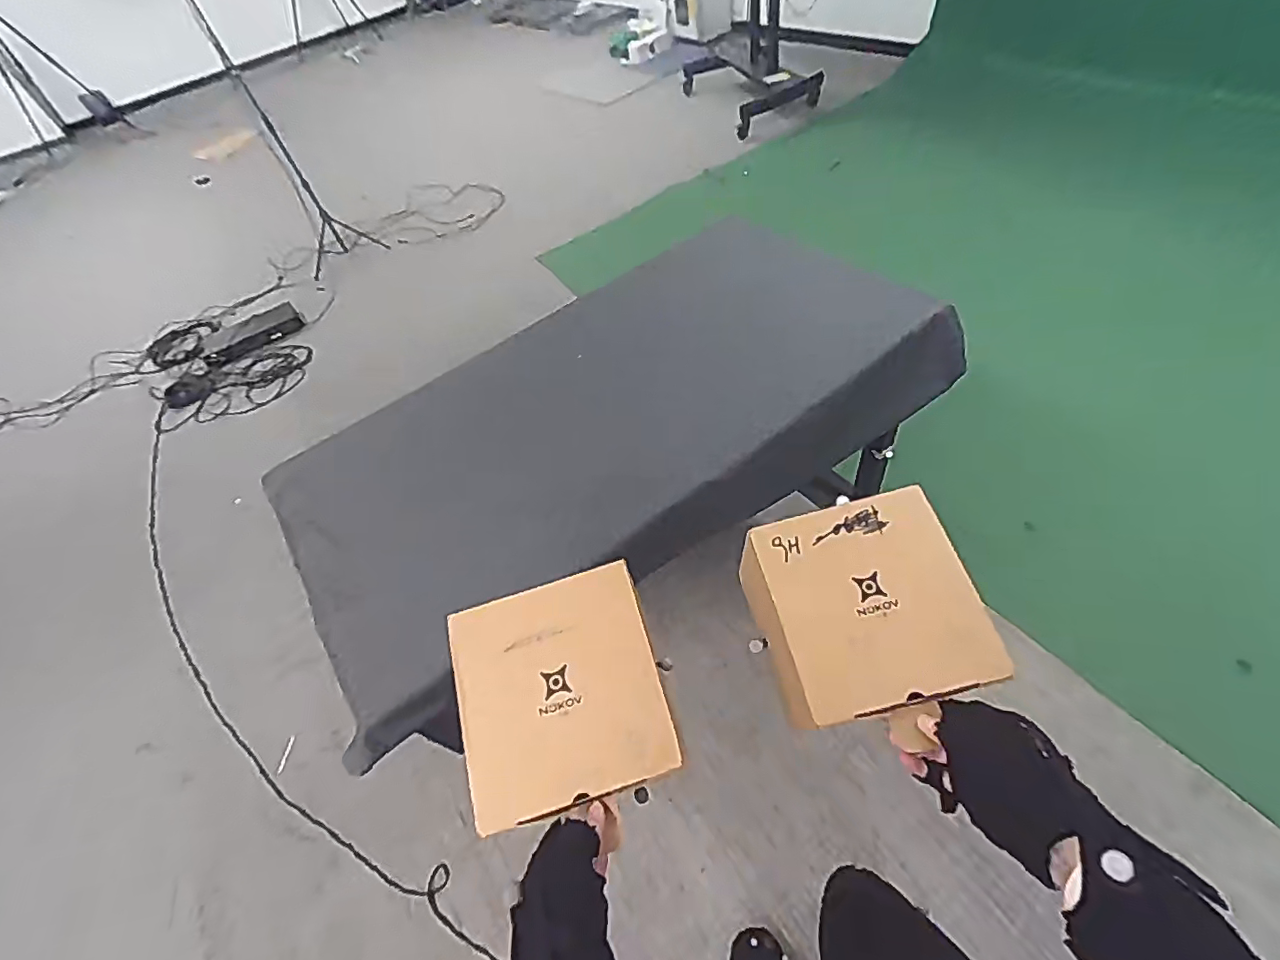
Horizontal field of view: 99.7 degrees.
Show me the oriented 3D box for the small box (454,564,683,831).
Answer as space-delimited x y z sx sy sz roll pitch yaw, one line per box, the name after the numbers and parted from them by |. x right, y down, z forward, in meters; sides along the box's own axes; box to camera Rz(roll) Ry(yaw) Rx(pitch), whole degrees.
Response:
-0.060 0.208 0.529 0.168 0.176 0.179 -18 63 -3 | small box
